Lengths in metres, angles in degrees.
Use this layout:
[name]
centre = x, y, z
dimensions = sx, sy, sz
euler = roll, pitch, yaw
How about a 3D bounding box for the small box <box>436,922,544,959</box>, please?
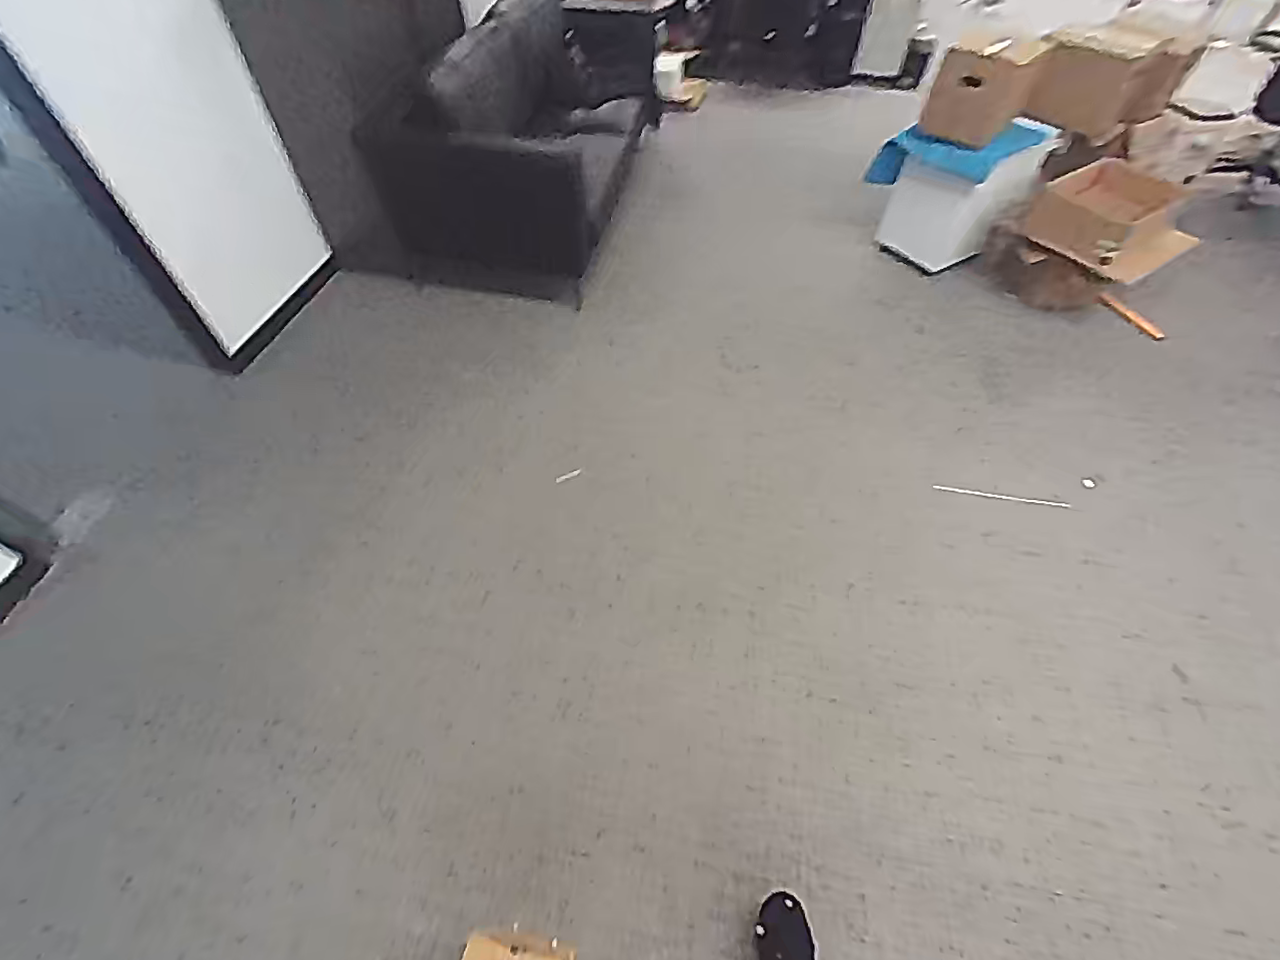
[small box]
centre = -0.271, 0.886, 0.922
dimensions = 0.168, 0.176, 0.179
euler = 13, 54, 8
